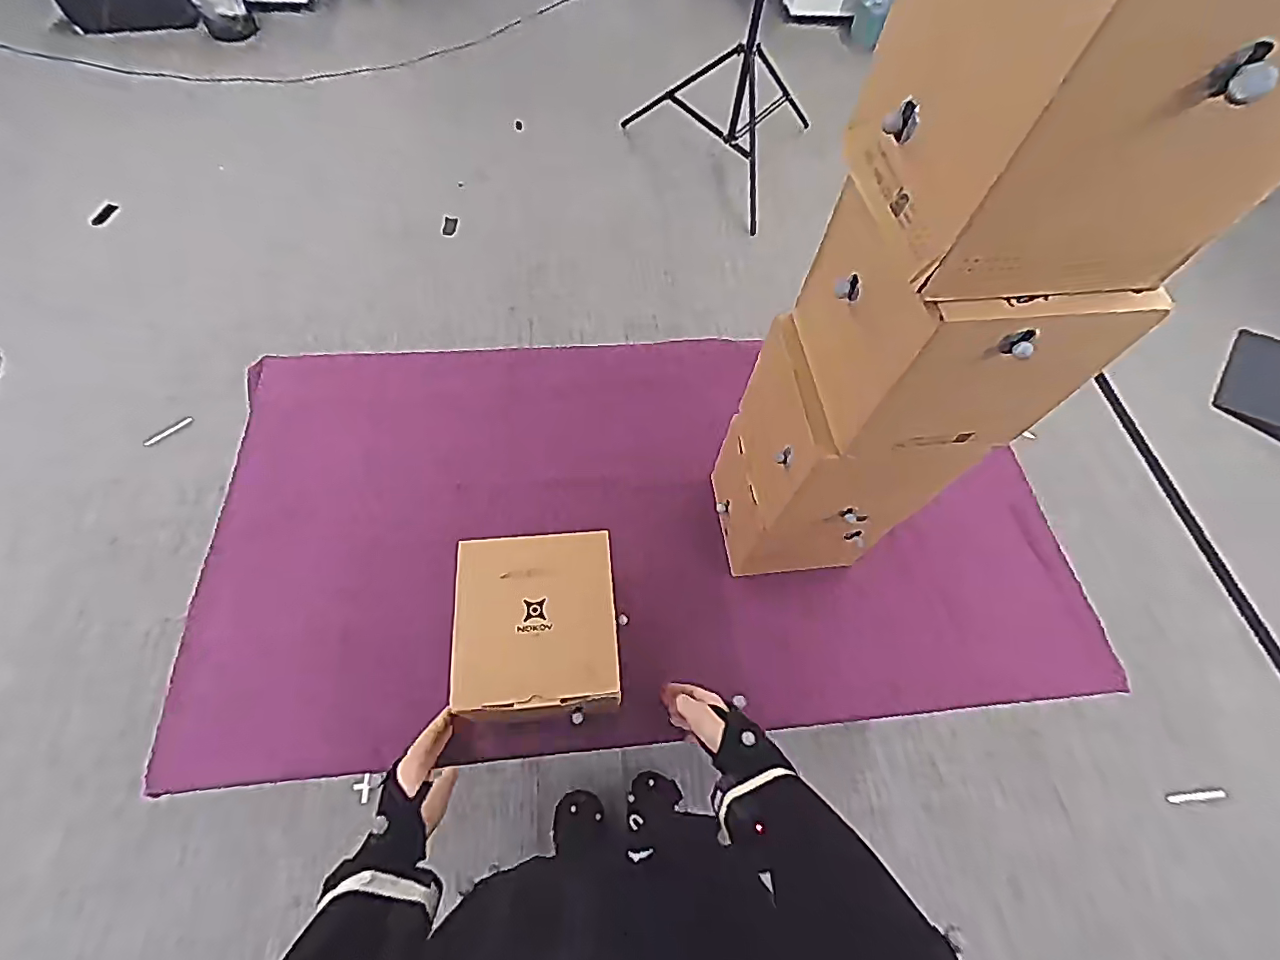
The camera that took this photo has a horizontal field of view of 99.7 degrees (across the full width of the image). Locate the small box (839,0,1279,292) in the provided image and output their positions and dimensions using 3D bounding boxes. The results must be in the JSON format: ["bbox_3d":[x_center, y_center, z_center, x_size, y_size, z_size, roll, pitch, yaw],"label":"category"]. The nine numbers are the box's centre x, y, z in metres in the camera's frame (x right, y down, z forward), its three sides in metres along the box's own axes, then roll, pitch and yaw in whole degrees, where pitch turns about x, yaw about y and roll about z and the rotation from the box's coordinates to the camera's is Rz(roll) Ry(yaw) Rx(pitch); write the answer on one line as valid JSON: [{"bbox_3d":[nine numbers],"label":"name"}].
[{"bbox_3d":[0.247,-0.229,0.311,0.179,0.176,0.168,-6,62,-6],"label":"small box"}]

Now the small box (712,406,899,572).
[{"bbox_3d":[0.208,0.016,0.735,0.179,0.176,0.168,-5,61,-6],"label":"small box"}]

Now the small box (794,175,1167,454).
[{"bbox_3d":[0.246,-0.142,0.450,0.168,0.176,0.179,-5,62,-6],"label":"small box"}]

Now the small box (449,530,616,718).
[{"bbox_3d":[-0.116,0.175,0.630,0.168,0.176,0.179,-4,62,-7],"label":"small box"}]
